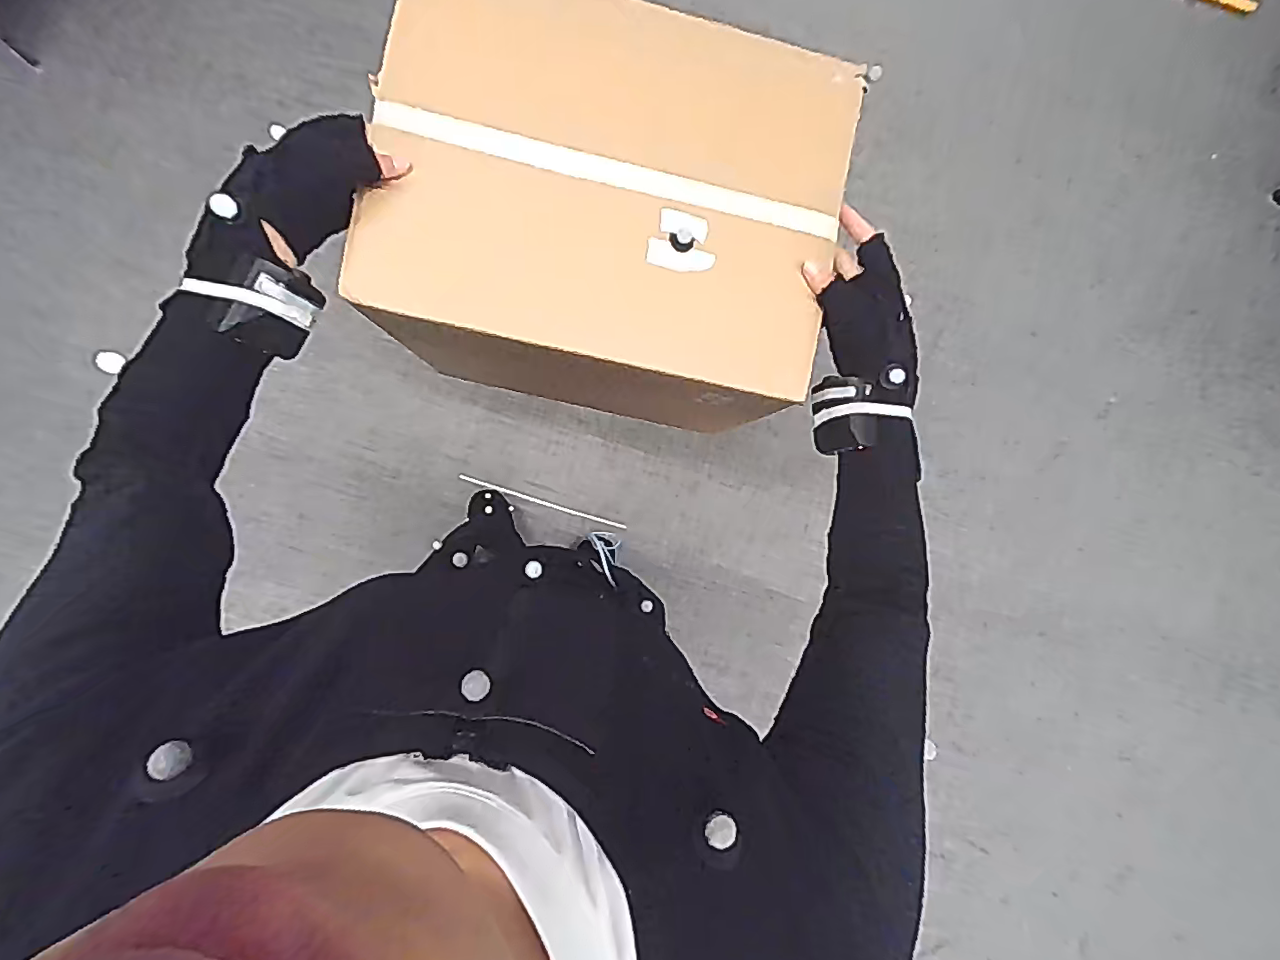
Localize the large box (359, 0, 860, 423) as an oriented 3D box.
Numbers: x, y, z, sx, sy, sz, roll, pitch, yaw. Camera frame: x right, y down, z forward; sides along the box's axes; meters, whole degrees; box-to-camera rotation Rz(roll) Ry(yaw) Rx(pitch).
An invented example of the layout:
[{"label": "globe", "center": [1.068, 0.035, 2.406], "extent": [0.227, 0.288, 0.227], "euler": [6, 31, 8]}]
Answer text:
[{"label": "large box", "center": [-0.034, -0.267, 0.619], "extent": [0.408, 0.320, 0.320], "euler": [11, 89, -7]}]
